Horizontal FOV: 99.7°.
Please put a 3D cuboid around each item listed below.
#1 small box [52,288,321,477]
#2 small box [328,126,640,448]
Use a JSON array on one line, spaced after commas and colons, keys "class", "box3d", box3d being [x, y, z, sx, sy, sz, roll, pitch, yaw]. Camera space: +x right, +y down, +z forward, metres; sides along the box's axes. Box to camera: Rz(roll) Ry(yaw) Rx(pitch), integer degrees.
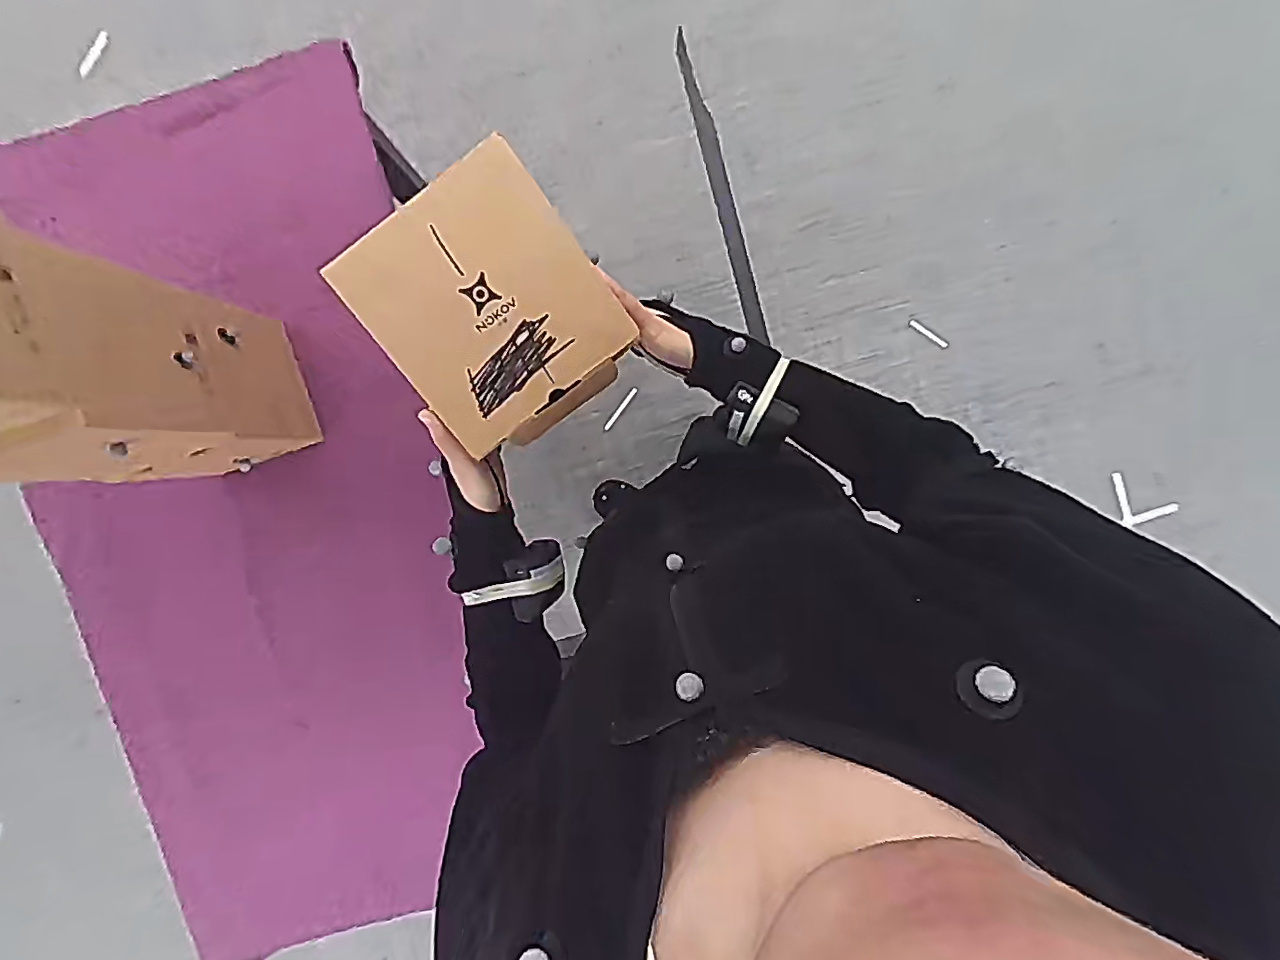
[{"class": "small box", "box3d": [-0.548, -0.112, 0.679, 0.168, 0.176, 0.179, -18, 94, 3]}, {"class": "small box", "box3d": [-0.117, -0.154, 0.480, 0.168, 0.176, 0.179, -35, 102, 3]}]
